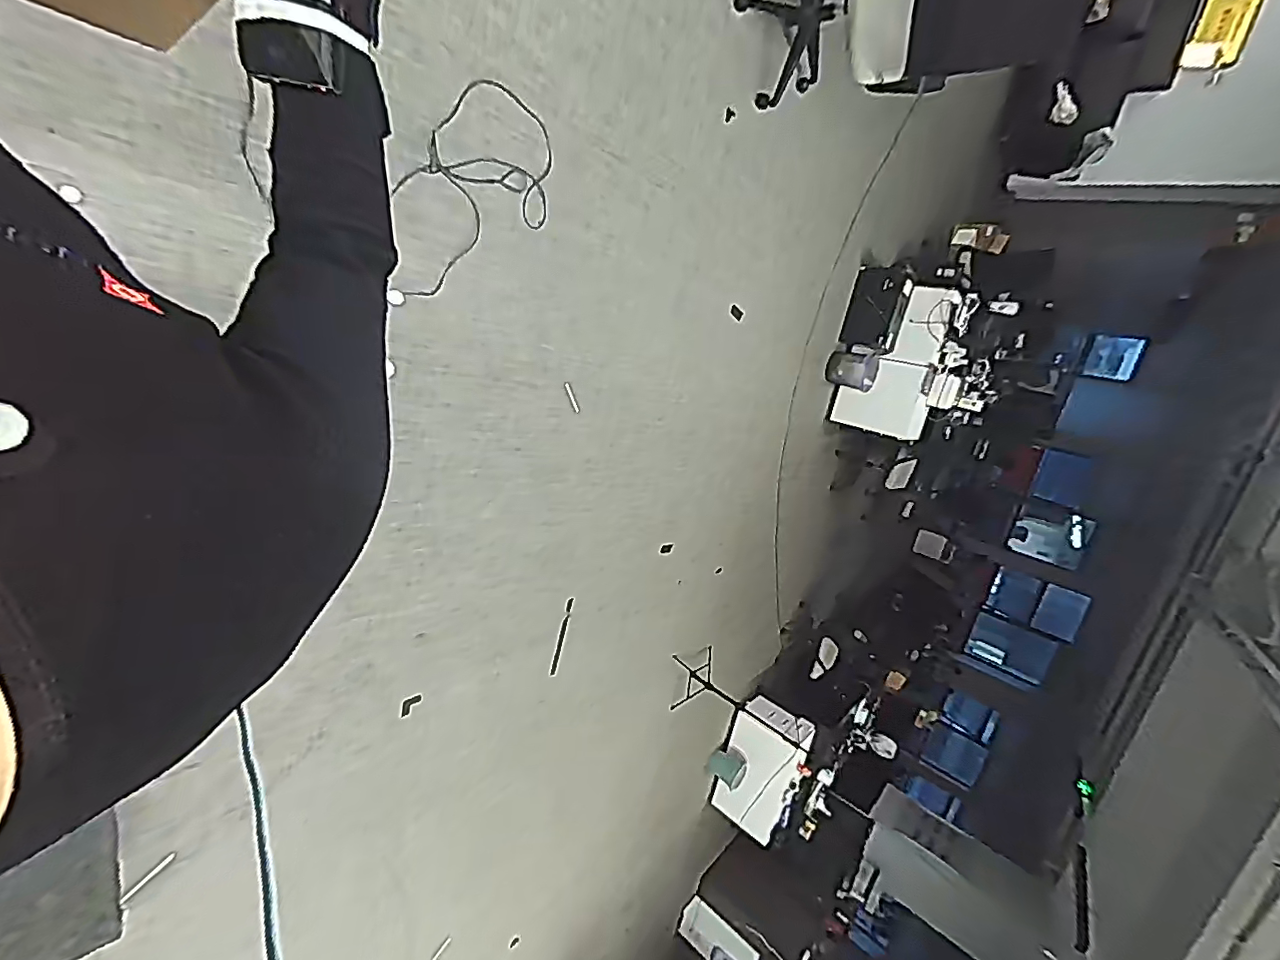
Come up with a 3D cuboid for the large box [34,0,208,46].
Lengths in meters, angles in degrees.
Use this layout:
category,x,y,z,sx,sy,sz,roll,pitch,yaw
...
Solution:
category,x,y,z,sx,sy,sz,roll,pitch,yaw
large box,-0.437,-0.489,0.229,0.408,0.320,0.320,-10,111,-51
